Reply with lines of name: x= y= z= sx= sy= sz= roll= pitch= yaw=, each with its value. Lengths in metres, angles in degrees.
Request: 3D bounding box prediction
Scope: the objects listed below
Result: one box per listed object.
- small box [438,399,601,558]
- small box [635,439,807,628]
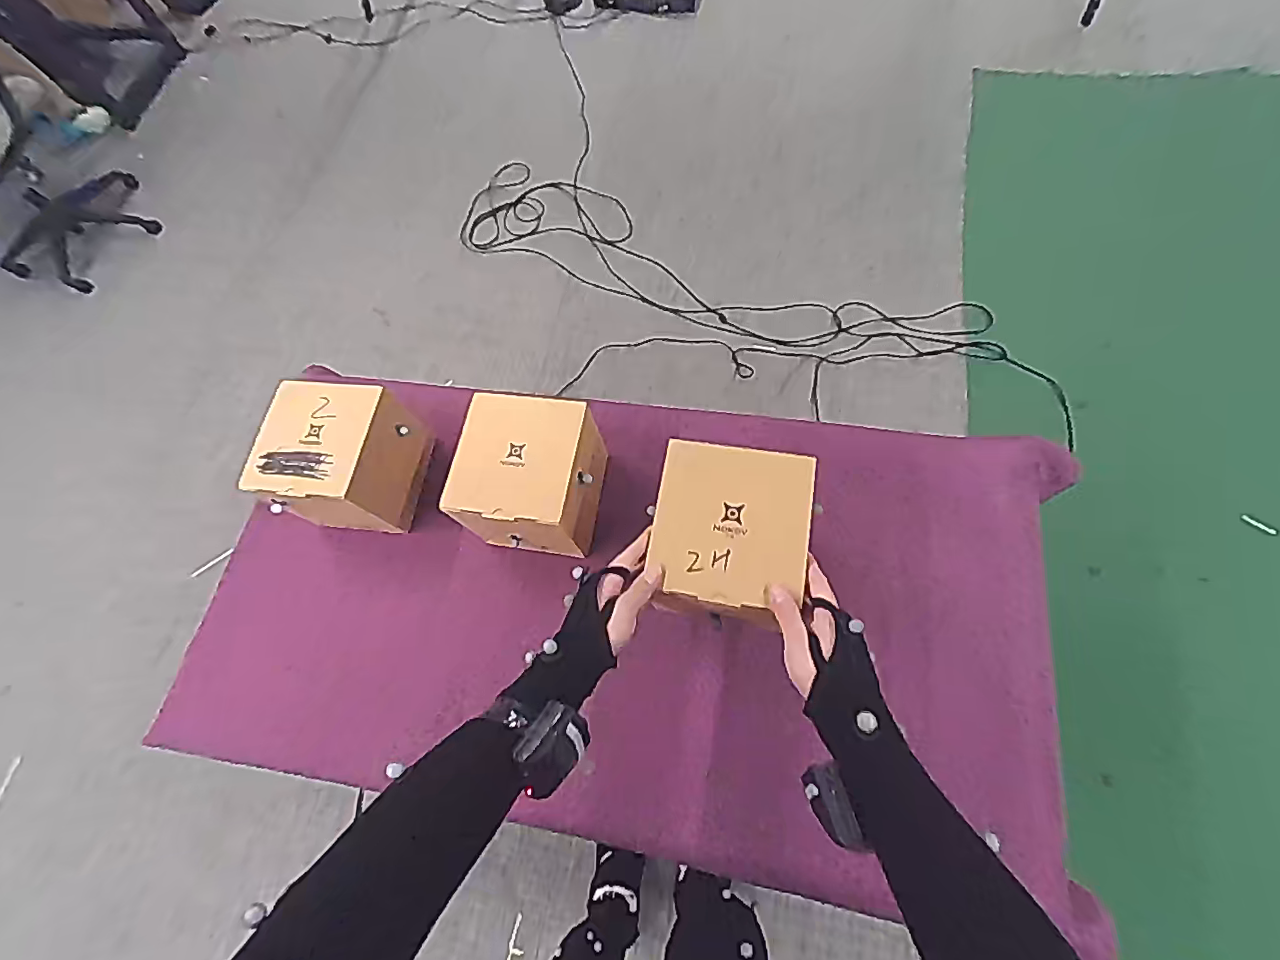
small box: x=-0.161 y=0.003 z=0.792 sx=0.168 sy=0.176 sz=0.179 roll=6 pitch=71 yaw=10
small box: x=0.099 y=0.071 z=0.658 sx=0.168 sy=0.176 sz=0.179 roll=8 pitch=71 yaw=12
